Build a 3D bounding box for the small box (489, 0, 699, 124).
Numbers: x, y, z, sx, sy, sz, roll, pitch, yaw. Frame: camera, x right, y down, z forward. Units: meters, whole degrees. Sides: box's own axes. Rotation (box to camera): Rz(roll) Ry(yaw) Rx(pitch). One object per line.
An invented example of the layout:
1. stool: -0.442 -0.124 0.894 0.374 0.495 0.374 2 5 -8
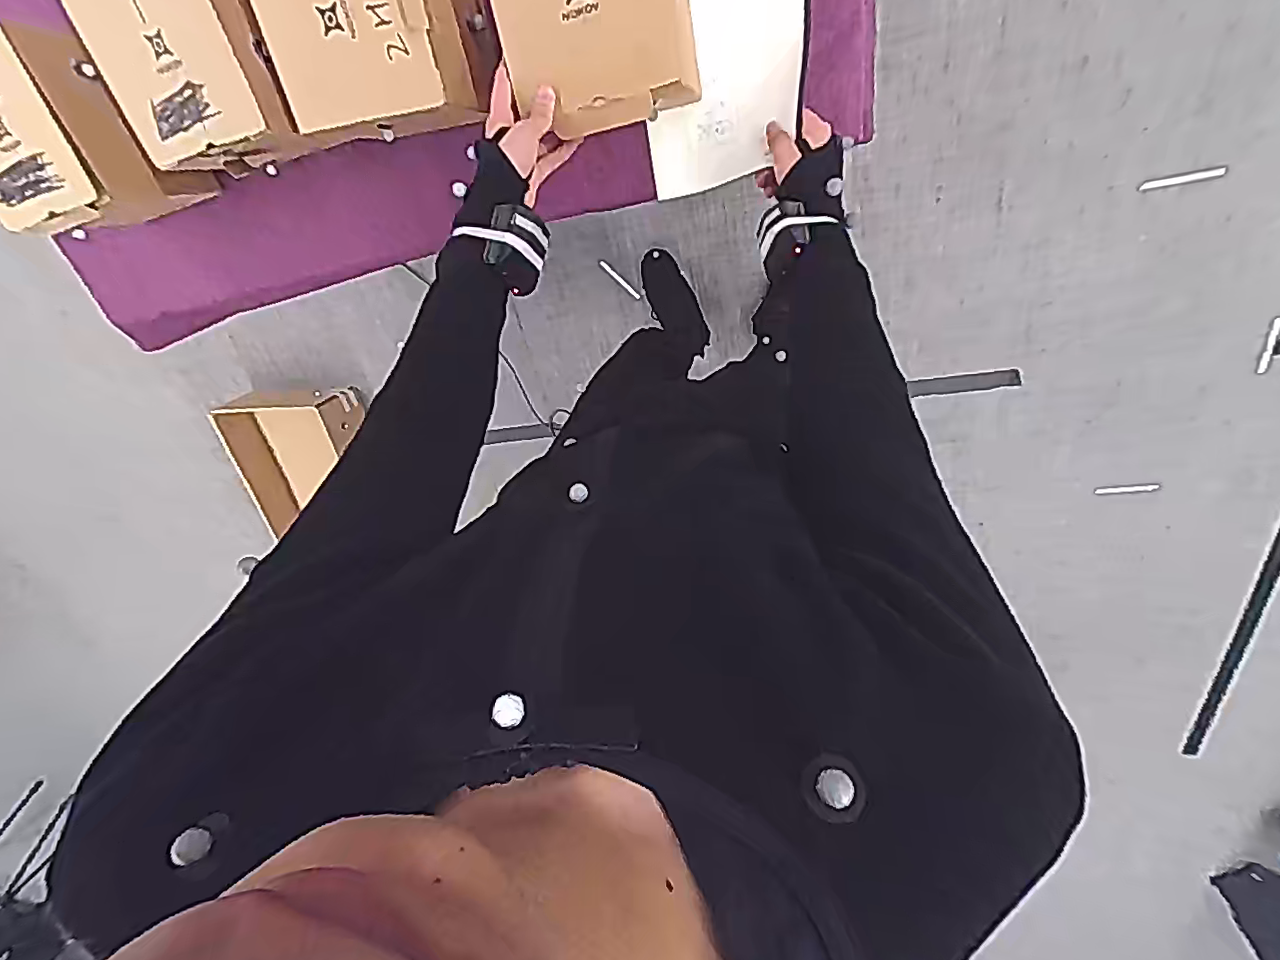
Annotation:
1. small box: -0.039 -0.471 0.536 0.168 0.176 0.179 -4 119 15
